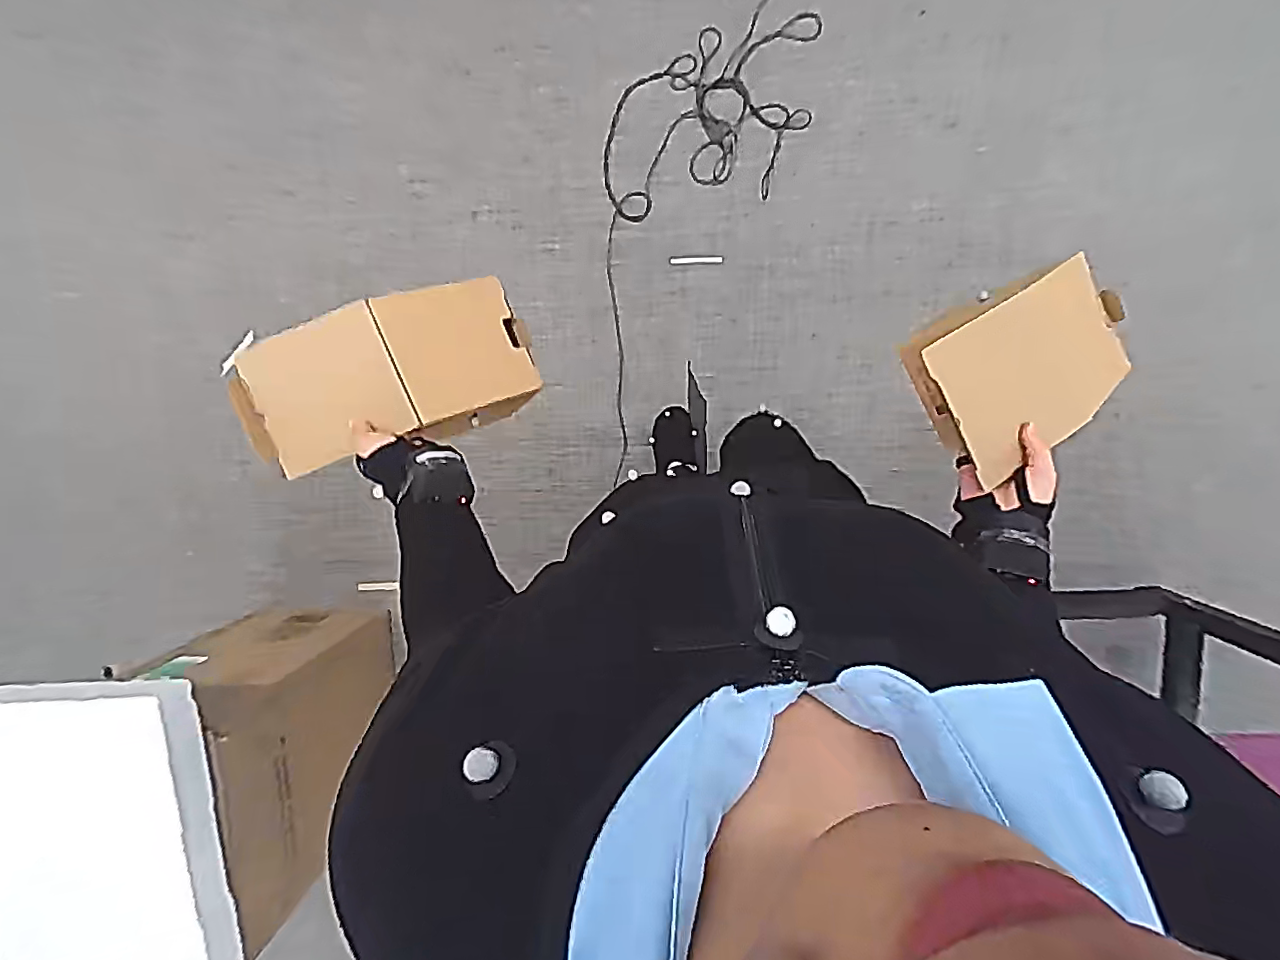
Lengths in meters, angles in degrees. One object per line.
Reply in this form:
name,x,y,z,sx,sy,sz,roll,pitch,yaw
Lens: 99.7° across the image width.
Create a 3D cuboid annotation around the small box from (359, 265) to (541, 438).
small box,-0.268,-0.169,0.745,0.179,0.176,0.168,-25,95,-32
